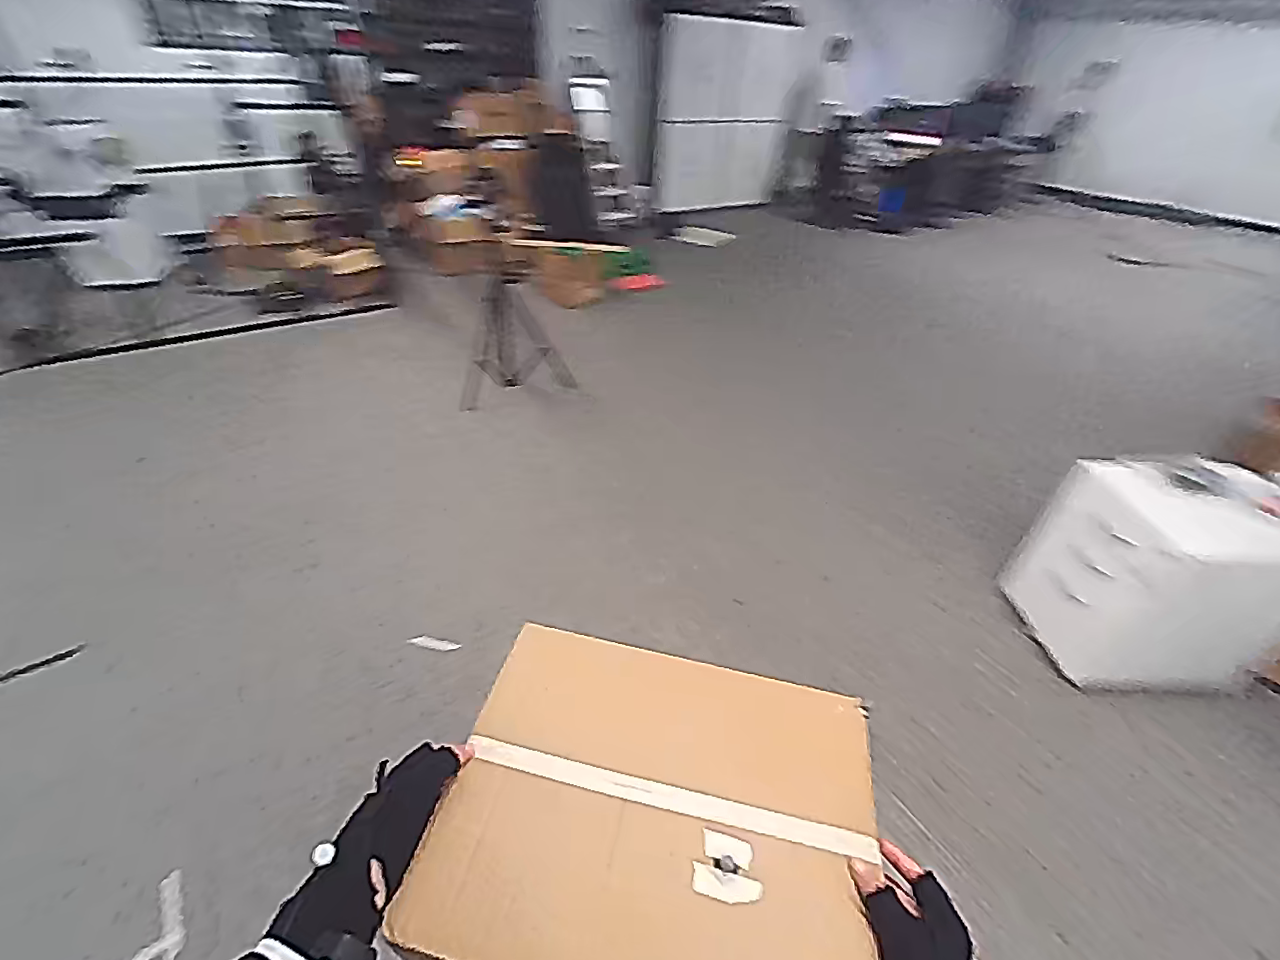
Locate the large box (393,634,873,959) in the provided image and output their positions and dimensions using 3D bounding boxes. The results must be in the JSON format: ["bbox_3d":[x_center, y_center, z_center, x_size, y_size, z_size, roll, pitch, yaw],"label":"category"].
[{"bbox_3d":[0.006,0.430,0.628,0.408,0.320,0.320,10,40,7],"label":"large box"}]
